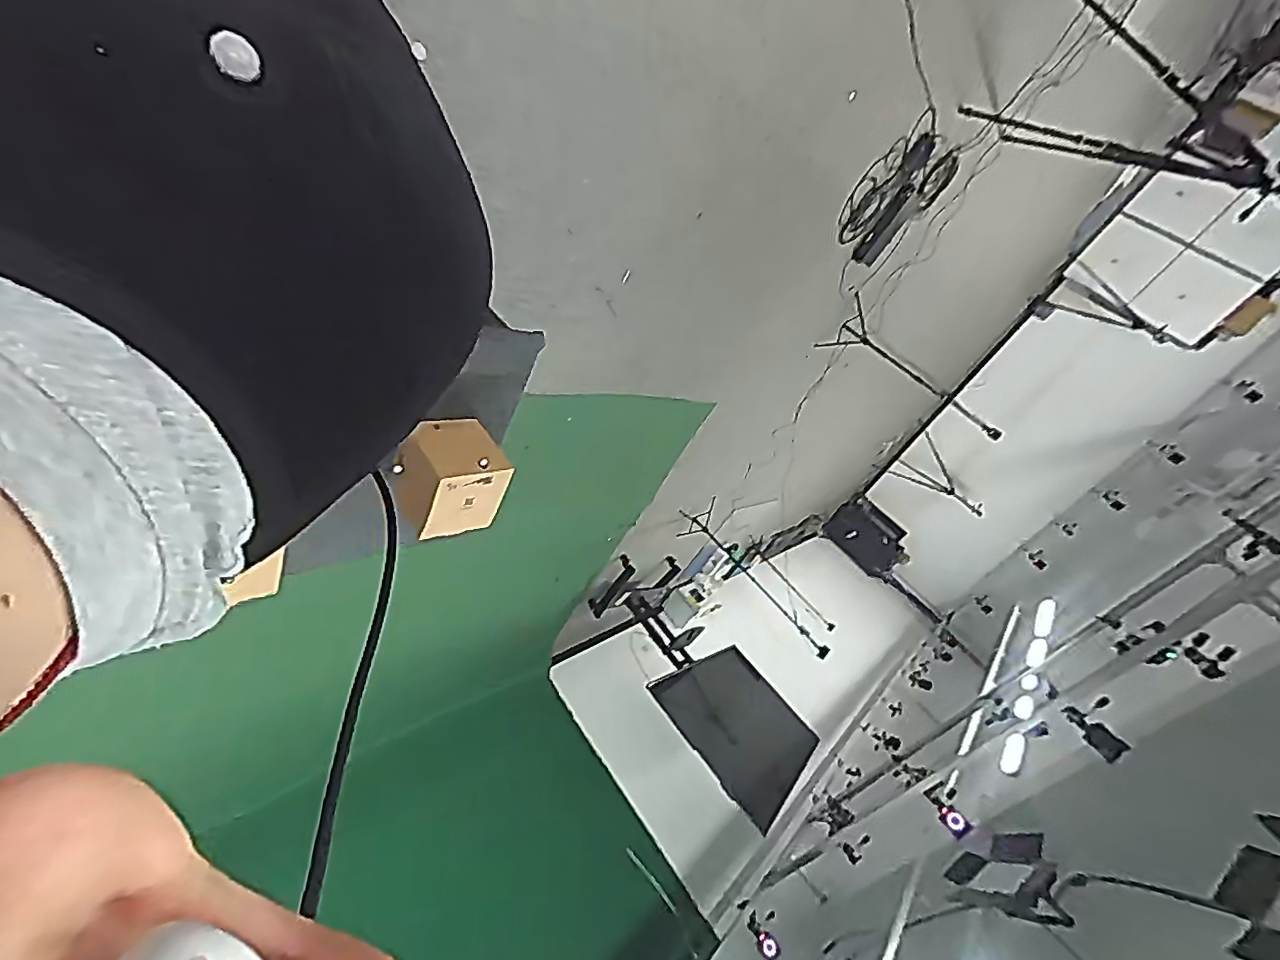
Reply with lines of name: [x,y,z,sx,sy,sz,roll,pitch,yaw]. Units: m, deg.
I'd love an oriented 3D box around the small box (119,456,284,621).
small box: [-0.701,0.086,0.864,0.168,0.176,0.179,-14,143,-50]

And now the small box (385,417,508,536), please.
small box: [-0.412,-0.013,1.136,0.168,0.176,0.179,-12,144,-49]
